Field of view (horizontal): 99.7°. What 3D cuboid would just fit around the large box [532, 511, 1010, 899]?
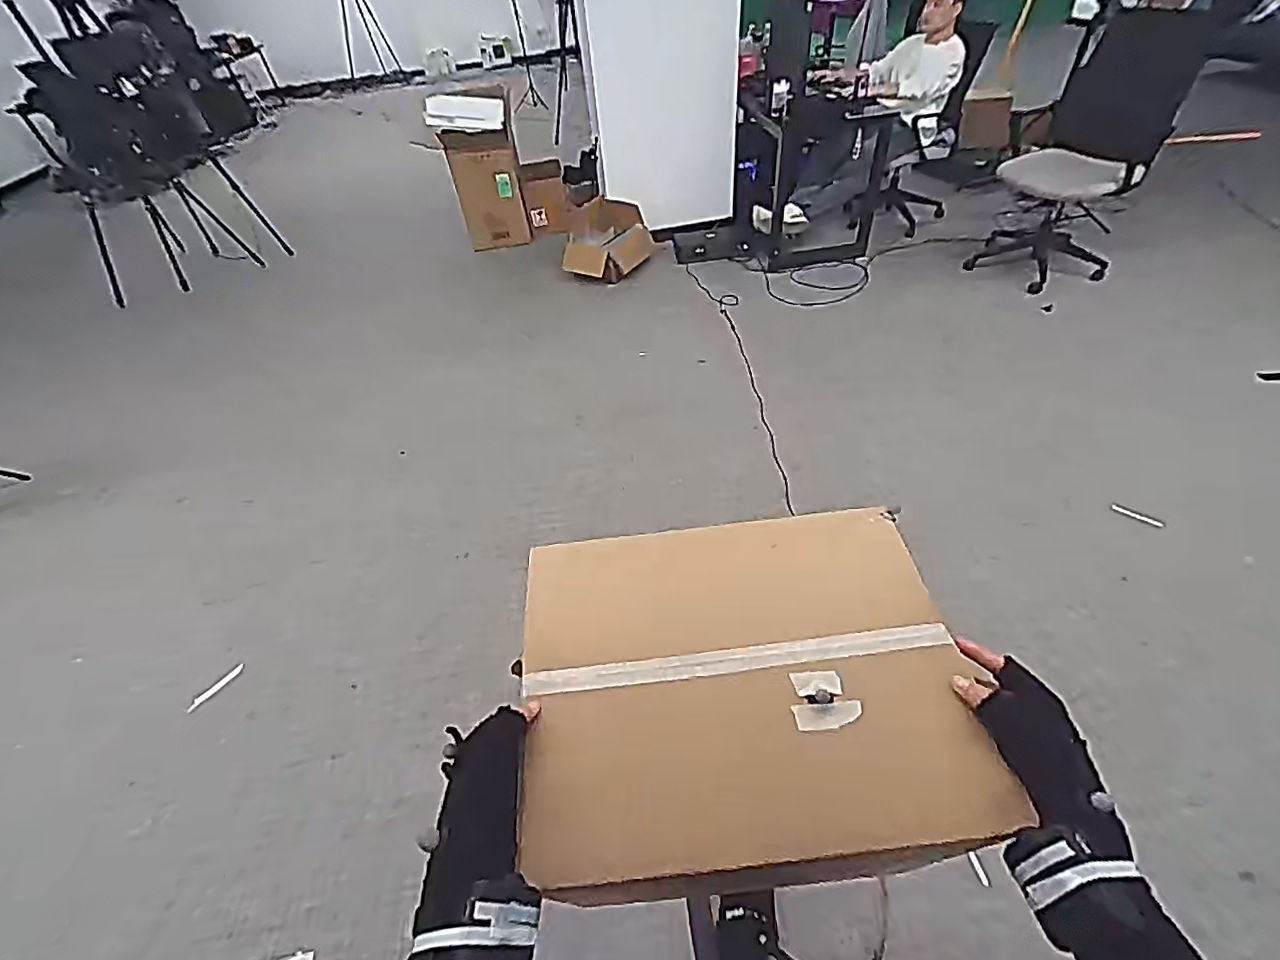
[{"bbox_3d":[0.102,0.272,0.644,0.408,0.320,0.320,-7,50,-1],"label":"large box"}]
